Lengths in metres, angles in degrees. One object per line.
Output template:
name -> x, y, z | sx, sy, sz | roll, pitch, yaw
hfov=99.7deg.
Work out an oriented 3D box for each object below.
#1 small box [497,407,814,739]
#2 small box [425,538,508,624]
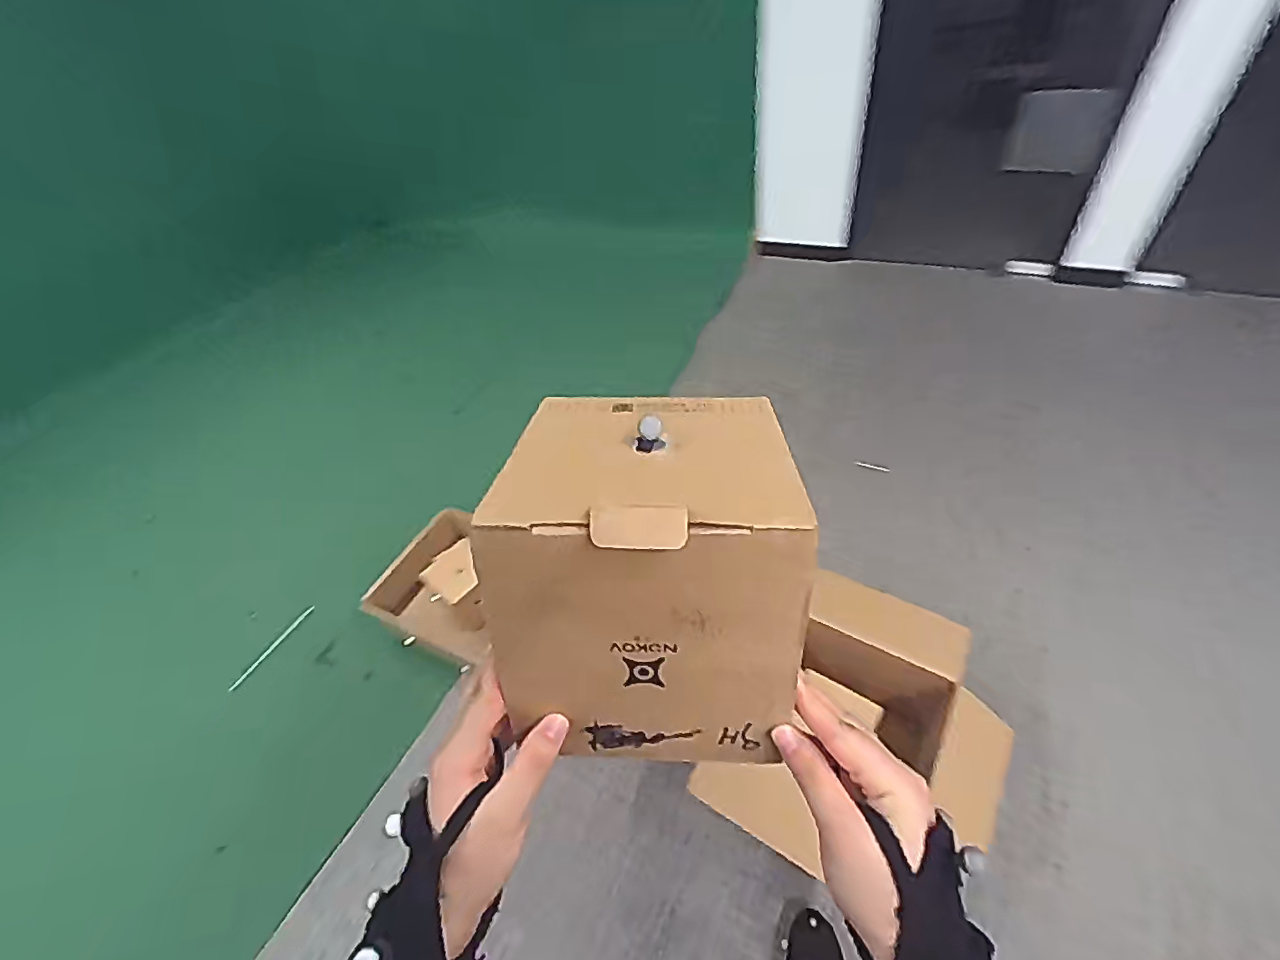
small box -> 0.010, 0.053, 0.382 | 0.168, 0.179, 0.176 | -1, 29, 2
small box -> -0.519, 0.318, 1.668 | 0.179, 0.176, 0.168 | 28, 57, 30
